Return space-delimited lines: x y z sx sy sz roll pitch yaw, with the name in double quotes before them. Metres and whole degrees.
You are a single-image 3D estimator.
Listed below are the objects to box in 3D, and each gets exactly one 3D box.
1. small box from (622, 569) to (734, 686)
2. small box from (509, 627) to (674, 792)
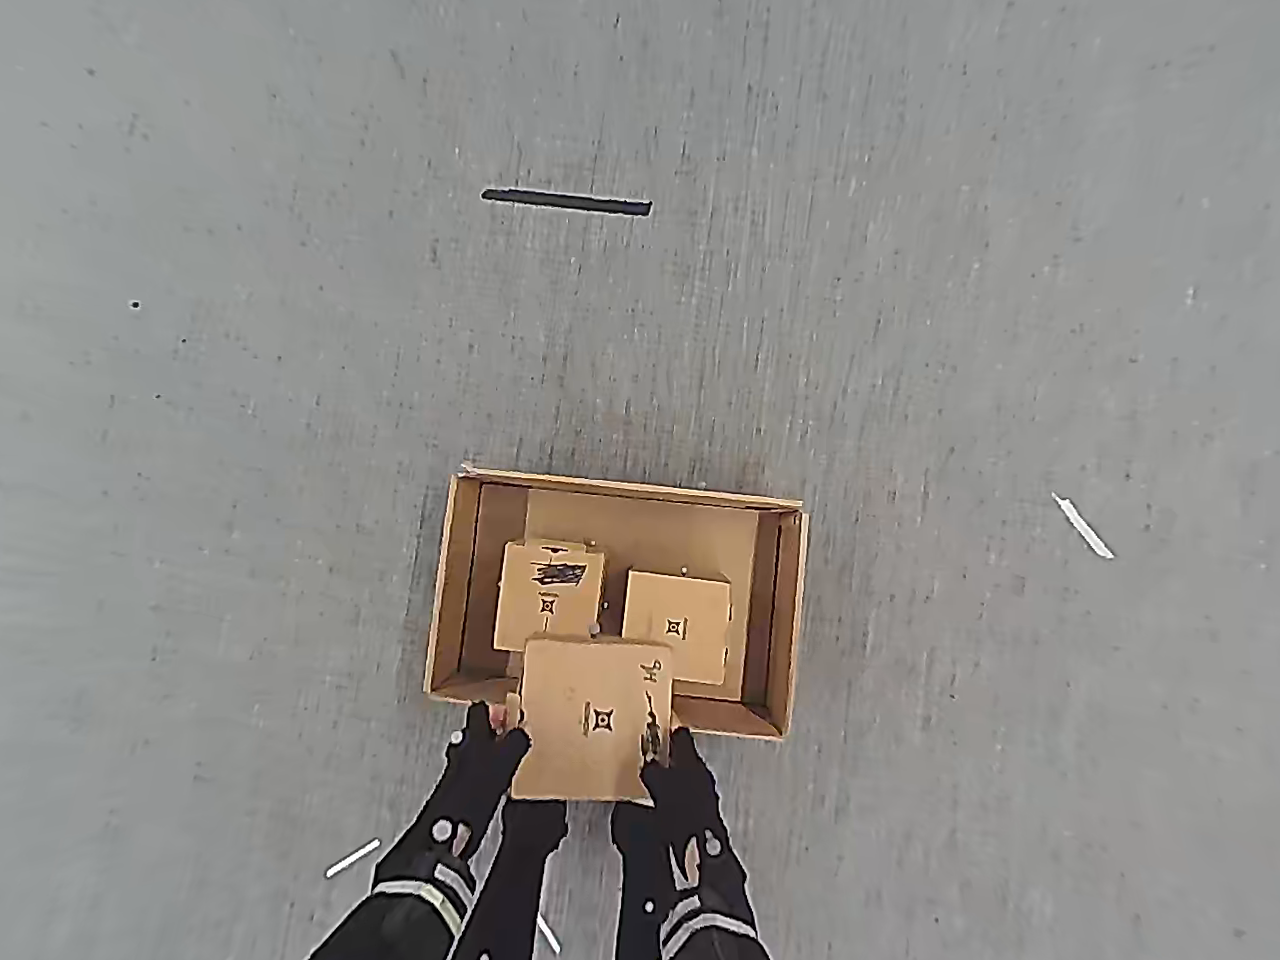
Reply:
"small box" 0.062 0.251 0.959 0.179 0.176 0.168 6 84 4
"small box" -0.060 0.278 0.689 0.179 0.176 0.168 5 77 -6
